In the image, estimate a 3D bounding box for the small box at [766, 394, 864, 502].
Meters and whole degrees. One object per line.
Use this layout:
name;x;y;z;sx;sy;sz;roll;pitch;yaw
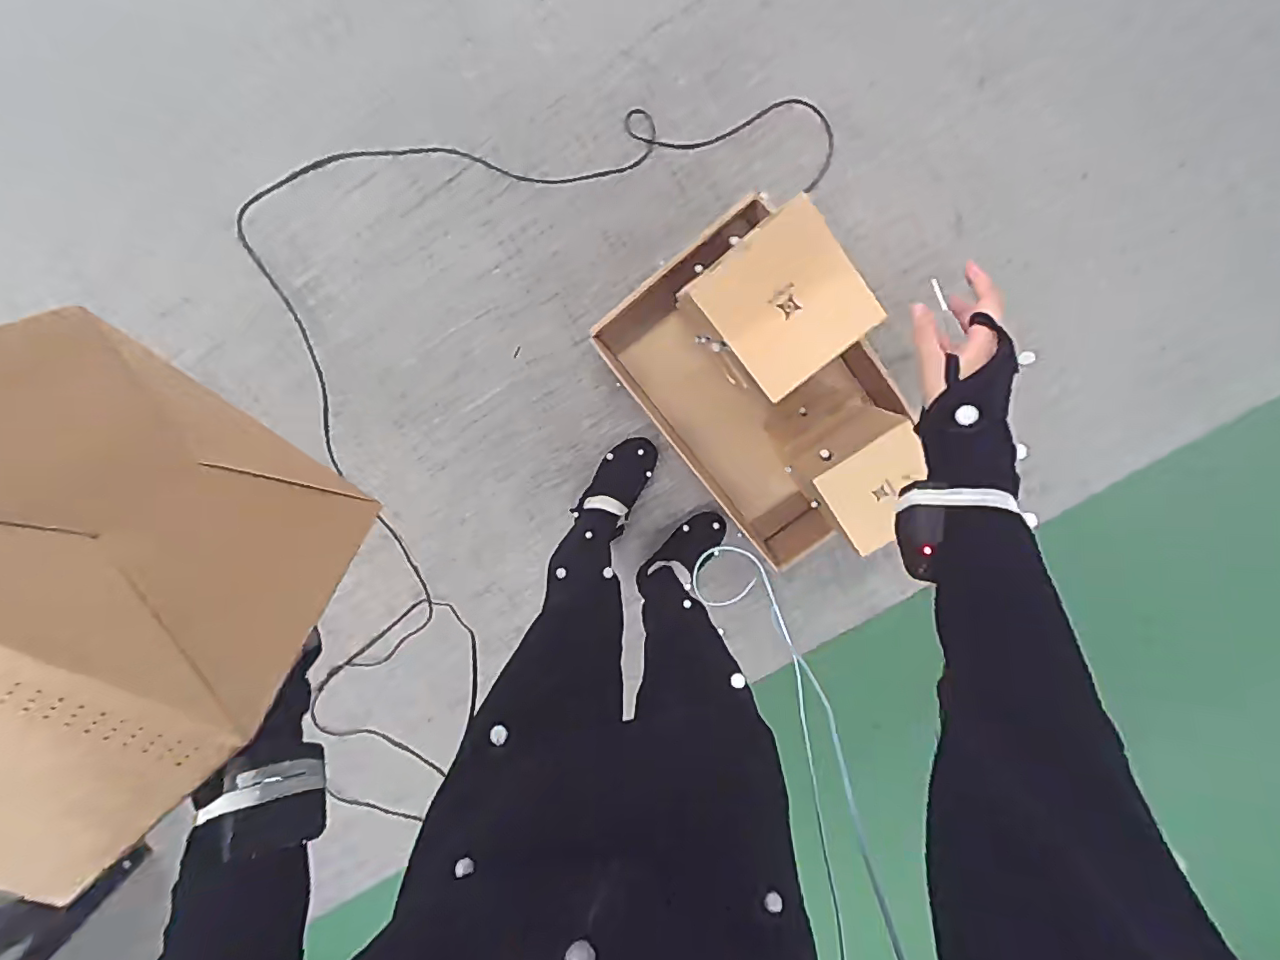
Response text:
small box;0.377;-0.061;1.094;0.168;0.176;0.179;-33;102;9

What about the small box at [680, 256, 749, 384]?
small box;0.176;-0.276;0.866;0.168;0.176;0.179;-33;104;10

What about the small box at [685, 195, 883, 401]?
small box;0.175;-0.232;0.710;0.168;0.176;0.179;-38;101;11

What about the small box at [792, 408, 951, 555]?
small box;0.384;-0.005;0.938;0.179;0.176;0.168;-34;104;8
